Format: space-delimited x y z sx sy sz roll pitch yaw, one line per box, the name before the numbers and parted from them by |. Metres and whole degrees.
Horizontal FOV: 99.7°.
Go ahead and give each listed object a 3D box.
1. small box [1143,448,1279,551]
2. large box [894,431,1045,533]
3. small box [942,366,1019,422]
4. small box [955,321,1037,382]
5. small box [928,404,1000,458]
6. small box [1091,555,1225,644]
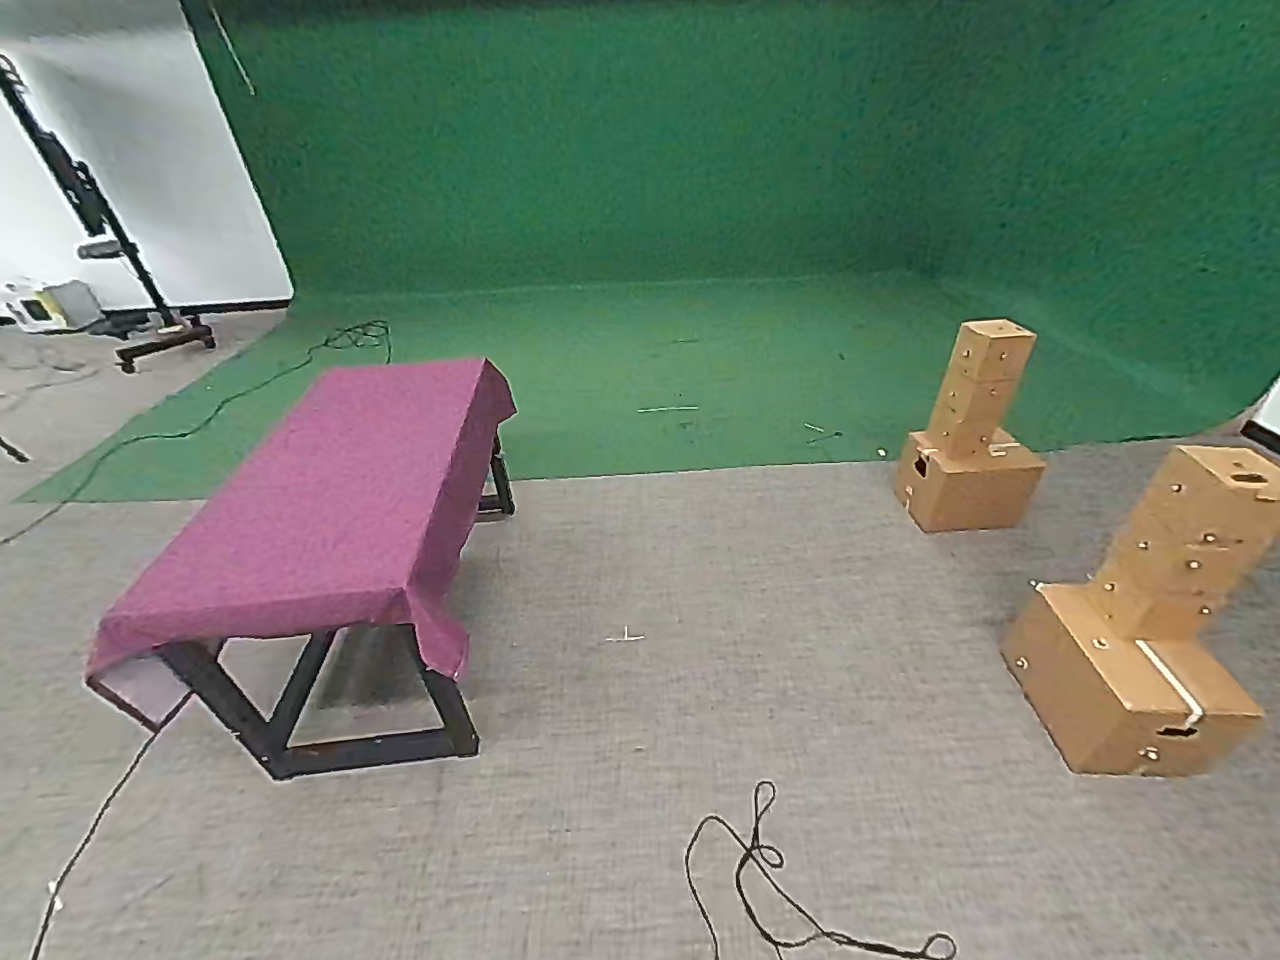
small box | 1.343 0.045 1.253 0.168 0.176 0.179 4 34 6
large box | 1.367 0.006 2.290 0.408 0.320 0.320 -3 36 -2
small box | 1.289 -0.331 2.066 0.179 0.176 0.168 -6 36 -6
small box | 1.283 -0.464 1.969 0.179 0.176 0.168 -6 36 -4
small box | 1.287 -0.198 2.161 0.168 0.176 0.179 -4 34 -3
small box | 1.354 0.318 1.436 0.179 0.176 0.168 1 36 3
